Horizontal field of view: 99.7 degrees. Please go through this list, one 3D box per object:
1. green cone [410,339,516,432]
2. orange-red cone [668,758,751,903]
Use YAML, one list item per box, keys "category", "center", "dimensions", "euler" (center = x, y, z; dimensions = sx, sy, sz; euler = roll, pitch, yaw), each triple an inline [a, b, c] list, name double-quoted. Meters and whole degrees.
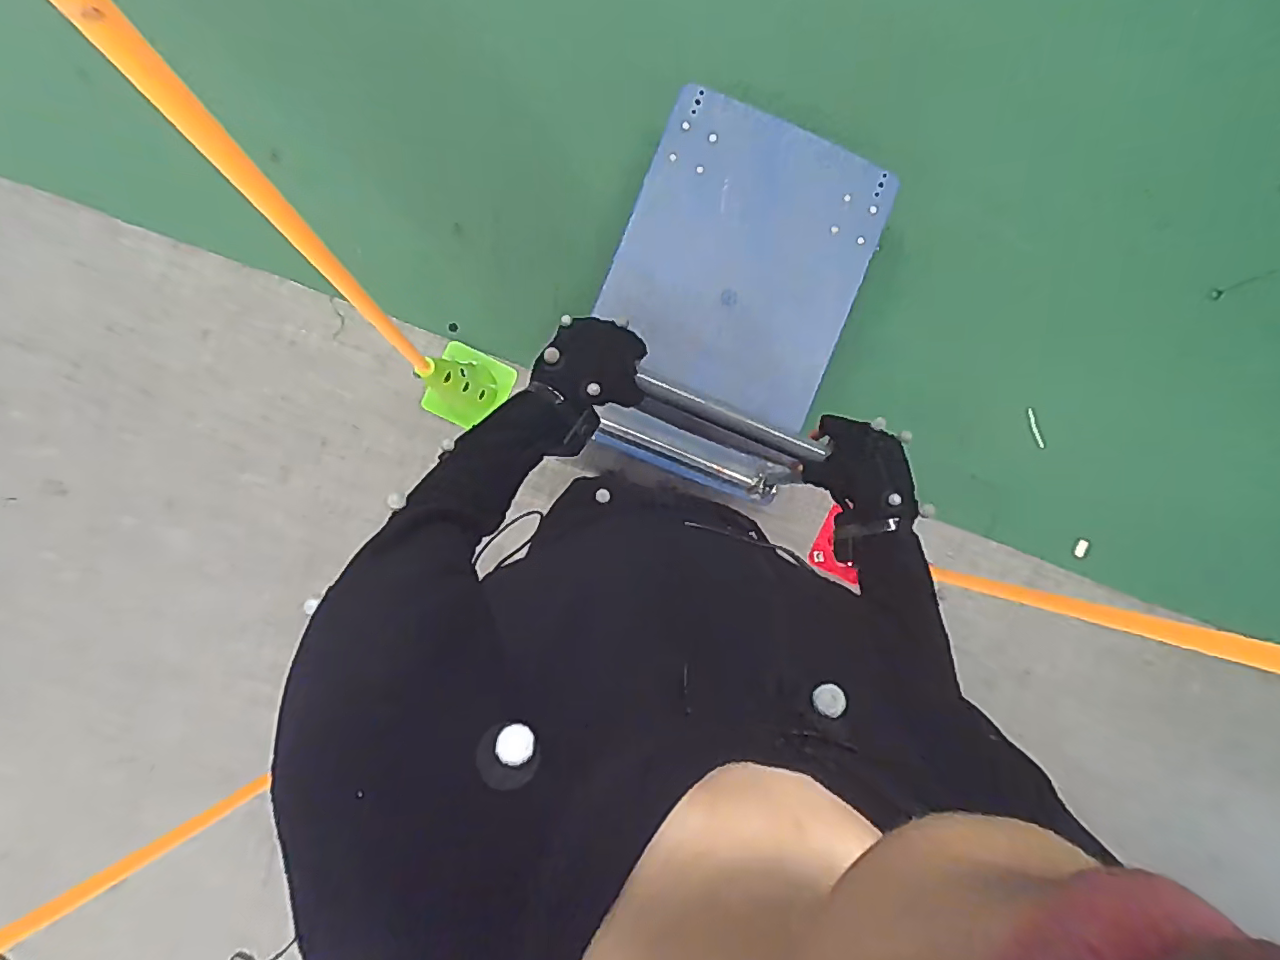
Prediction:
- category: "green cone"
  center: [-0.446, -0.248, 1.267]
  dimensions: [0.202, 0.368, 0.200]
  euler: [25, 90, -3]
- category: "orange-red cone"
  center: [0.201, 0.899, 1.347]
  dimensions: [0.199, 0.360, 0.198]
  euler: [20, 90, -2]
